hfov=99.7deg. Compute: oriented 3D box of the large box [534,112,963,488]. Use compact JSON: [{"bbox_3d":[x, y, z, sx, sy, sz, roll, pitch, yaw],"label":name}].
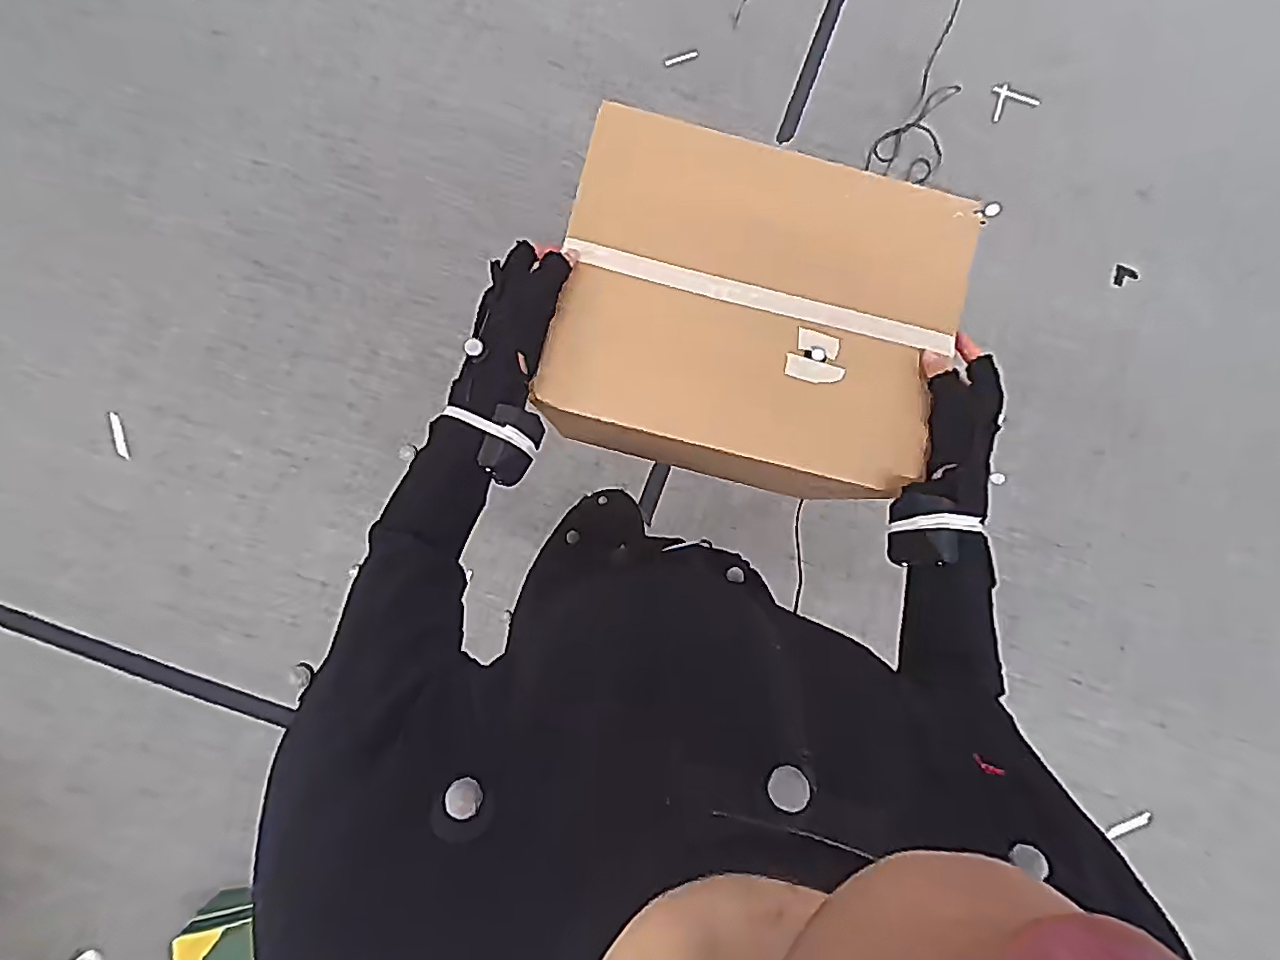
[{"bbox_3d":[0.108,-0.184,0.707,0.408,0.320,0.320,14,89,-2],"label":"large box"}]
